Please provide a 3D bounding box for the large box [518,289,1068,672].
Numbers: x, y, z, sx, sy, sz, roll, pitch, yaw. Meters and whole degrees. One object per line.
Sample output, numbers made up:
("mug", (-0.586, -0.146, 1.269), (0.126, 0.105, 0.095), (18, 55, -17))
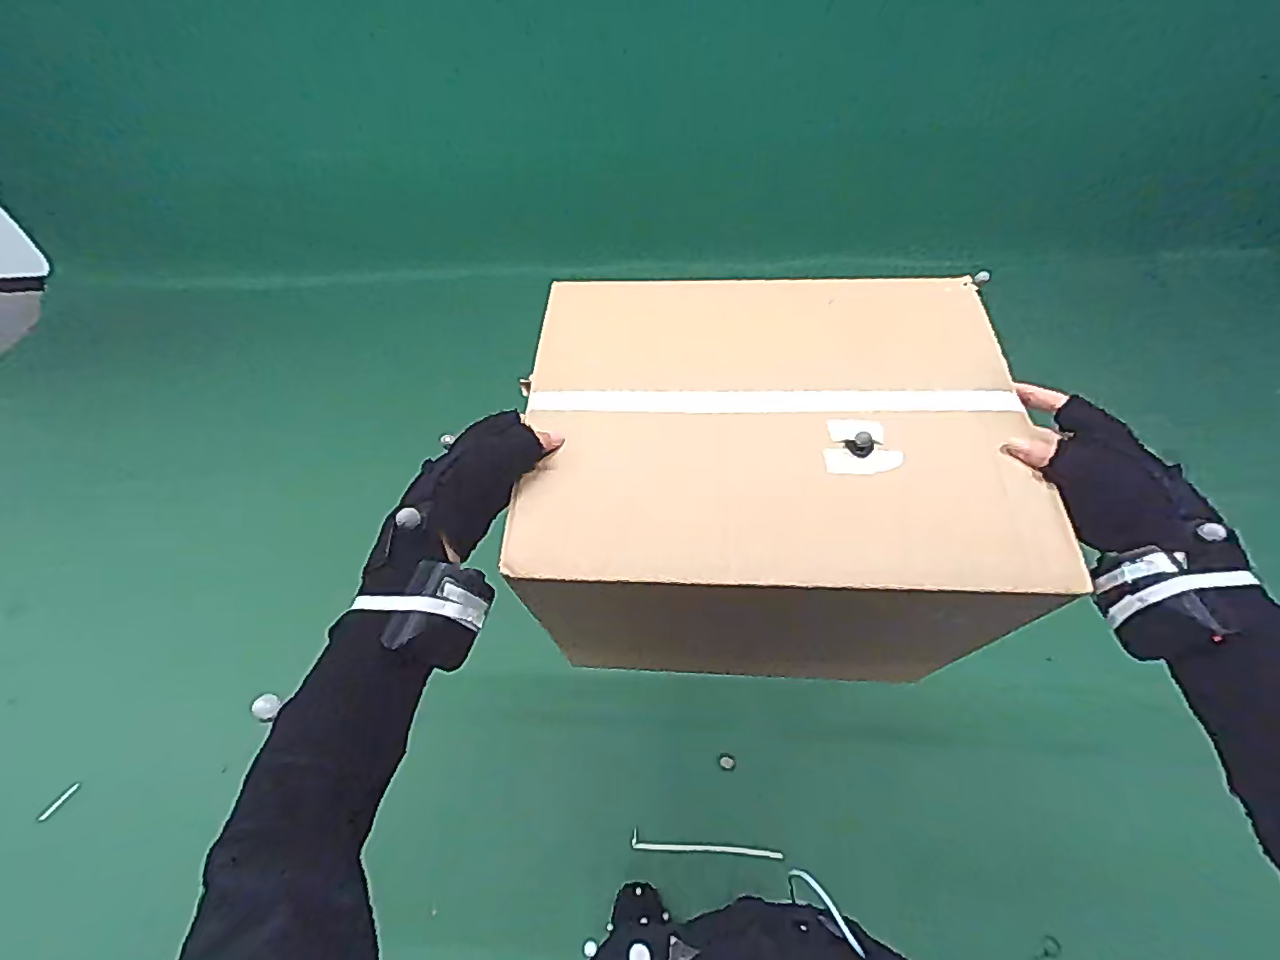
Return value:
("large box", (0.115, 0.017, 0.592), (0.408, 0.320, 0.320), (1, 59, 3))
